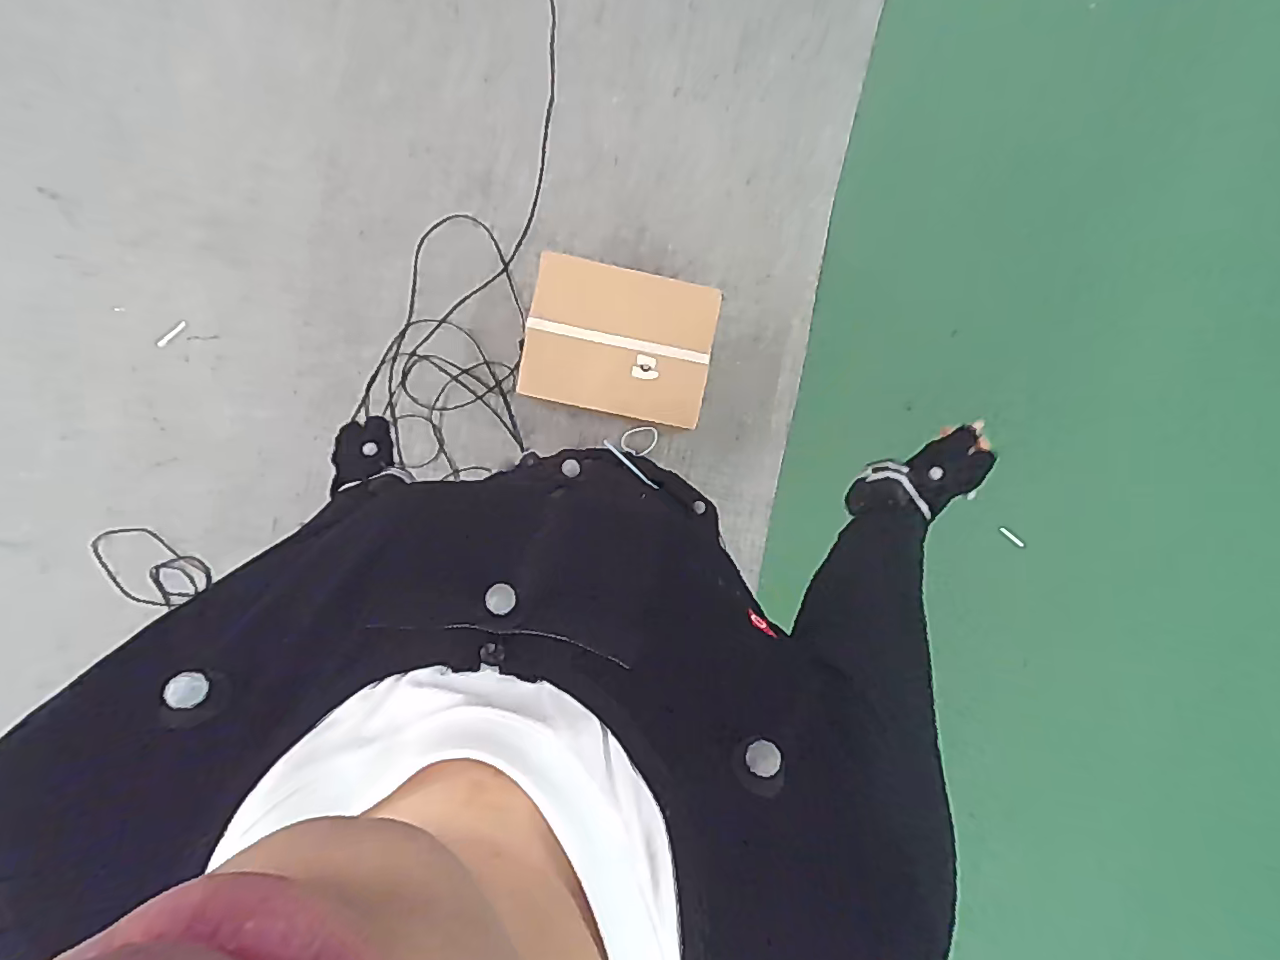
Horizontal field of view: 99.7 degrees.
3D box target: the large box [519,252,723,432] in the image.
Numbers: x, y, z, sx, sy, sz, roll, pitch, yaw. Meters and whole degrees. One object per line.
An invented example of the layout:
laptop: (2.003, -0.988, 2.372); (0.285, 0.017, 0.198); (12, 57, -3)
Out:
large box: (-0.051, -0.310, 1.322); (0.408, 0.320, 0.320); (12, 93, -4)
